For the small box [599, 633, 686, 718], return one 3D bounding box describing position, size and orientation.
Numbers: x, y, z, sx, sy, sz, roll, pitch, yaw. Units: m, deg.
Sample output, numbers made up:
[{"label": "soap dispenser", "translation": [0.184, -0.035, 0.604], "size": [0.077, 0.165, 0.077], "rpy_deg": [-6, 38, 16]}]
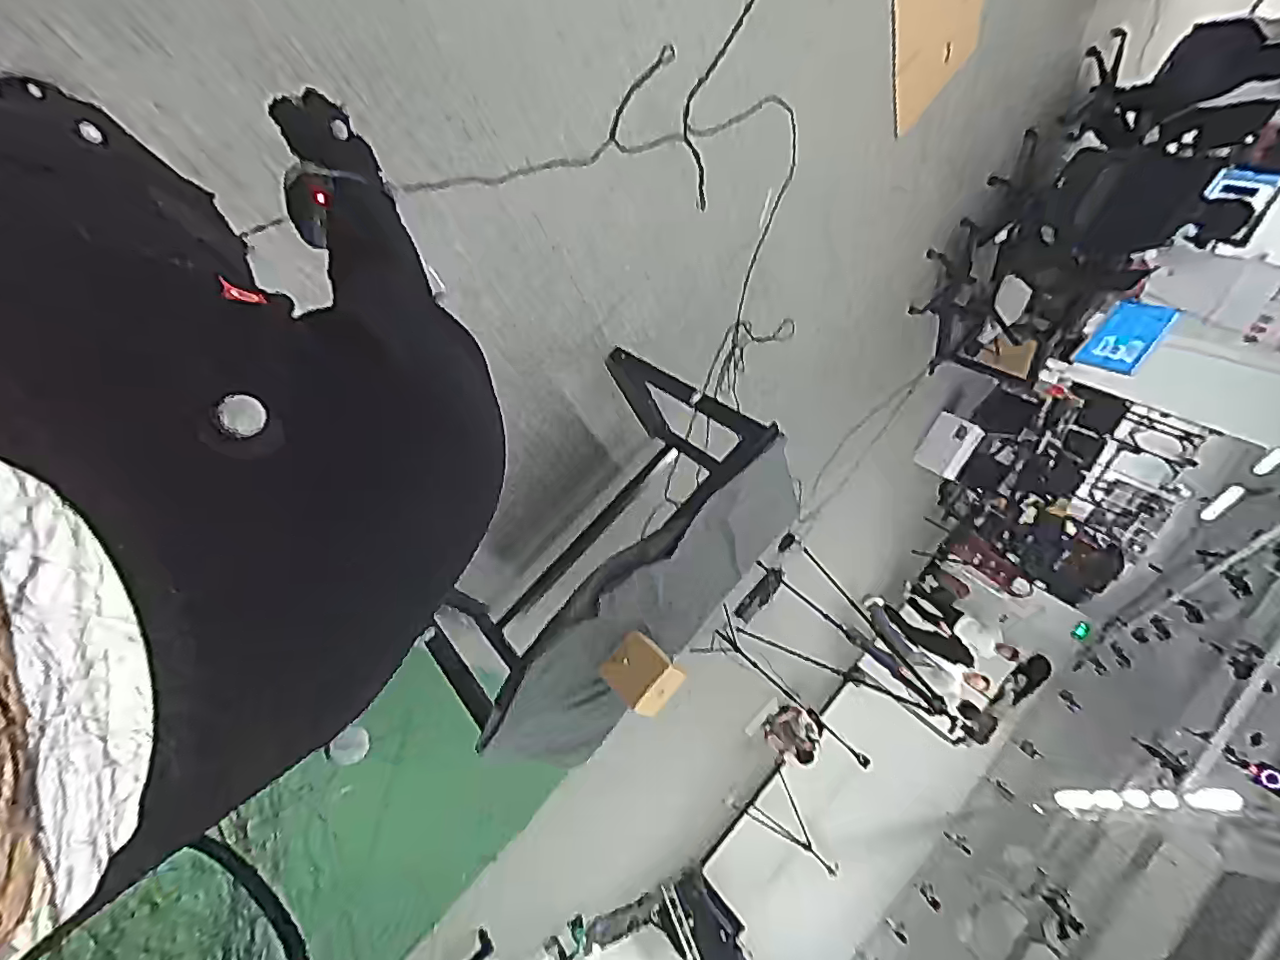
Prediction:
[{"label": "small box", "translation": [0.008, 0.592, 1.645], "size": [0.168, 0.176, 0.179], "rpy_deg": [-48, 145, -8]}]
